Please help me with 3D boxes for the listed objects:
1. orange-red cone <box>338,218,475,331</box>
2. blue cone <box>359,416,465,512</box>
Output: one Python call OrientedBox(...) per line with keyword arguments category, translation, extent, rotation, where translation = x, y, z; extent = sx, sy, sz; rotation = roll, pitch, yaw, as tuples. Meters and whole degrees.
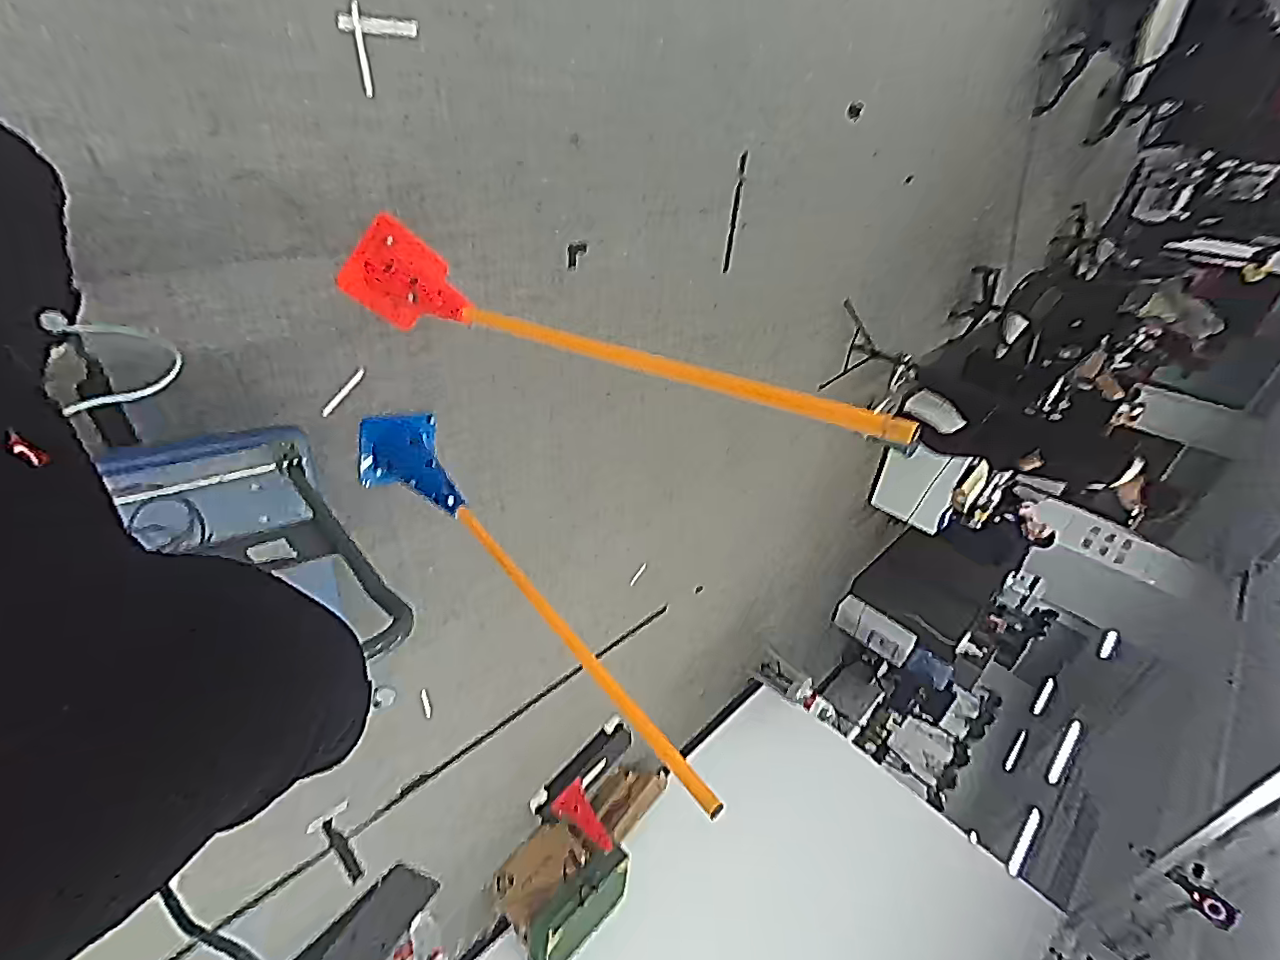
OrientedBox(category="orange-red cone", translation=(-0.454, -0.394, 1.156), extent=(0.199, 0.360, 0.198), rotation=(-55, 143, -1))
OrientedBox(category="blue cone", translation=(-0.546, -0.011, 1.359), extent=(0.193, 0.380, 0.192), rotation=(-10, 122, -46))
